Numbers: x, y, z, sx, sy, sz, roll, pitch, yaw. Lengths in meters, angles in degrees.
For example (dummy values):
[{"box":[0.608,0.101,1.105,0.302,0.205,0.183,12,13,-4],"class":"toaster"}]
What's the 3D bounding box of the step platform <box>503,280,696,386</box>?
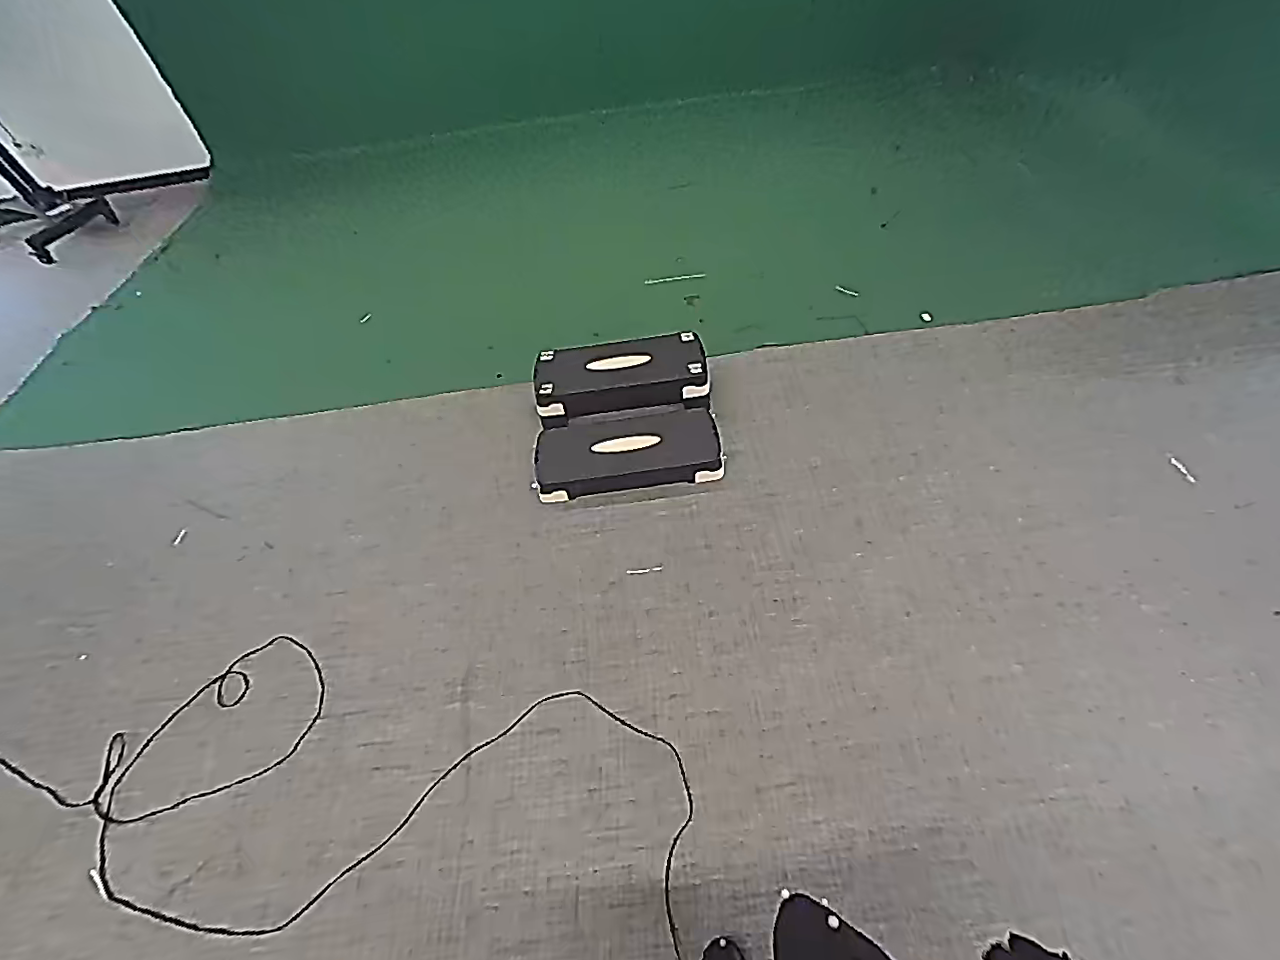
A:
[{"box":[-0.140,-0.540,1.991,0.684,0.204,0.286,-8,51,2],"class":"step platform"}]
